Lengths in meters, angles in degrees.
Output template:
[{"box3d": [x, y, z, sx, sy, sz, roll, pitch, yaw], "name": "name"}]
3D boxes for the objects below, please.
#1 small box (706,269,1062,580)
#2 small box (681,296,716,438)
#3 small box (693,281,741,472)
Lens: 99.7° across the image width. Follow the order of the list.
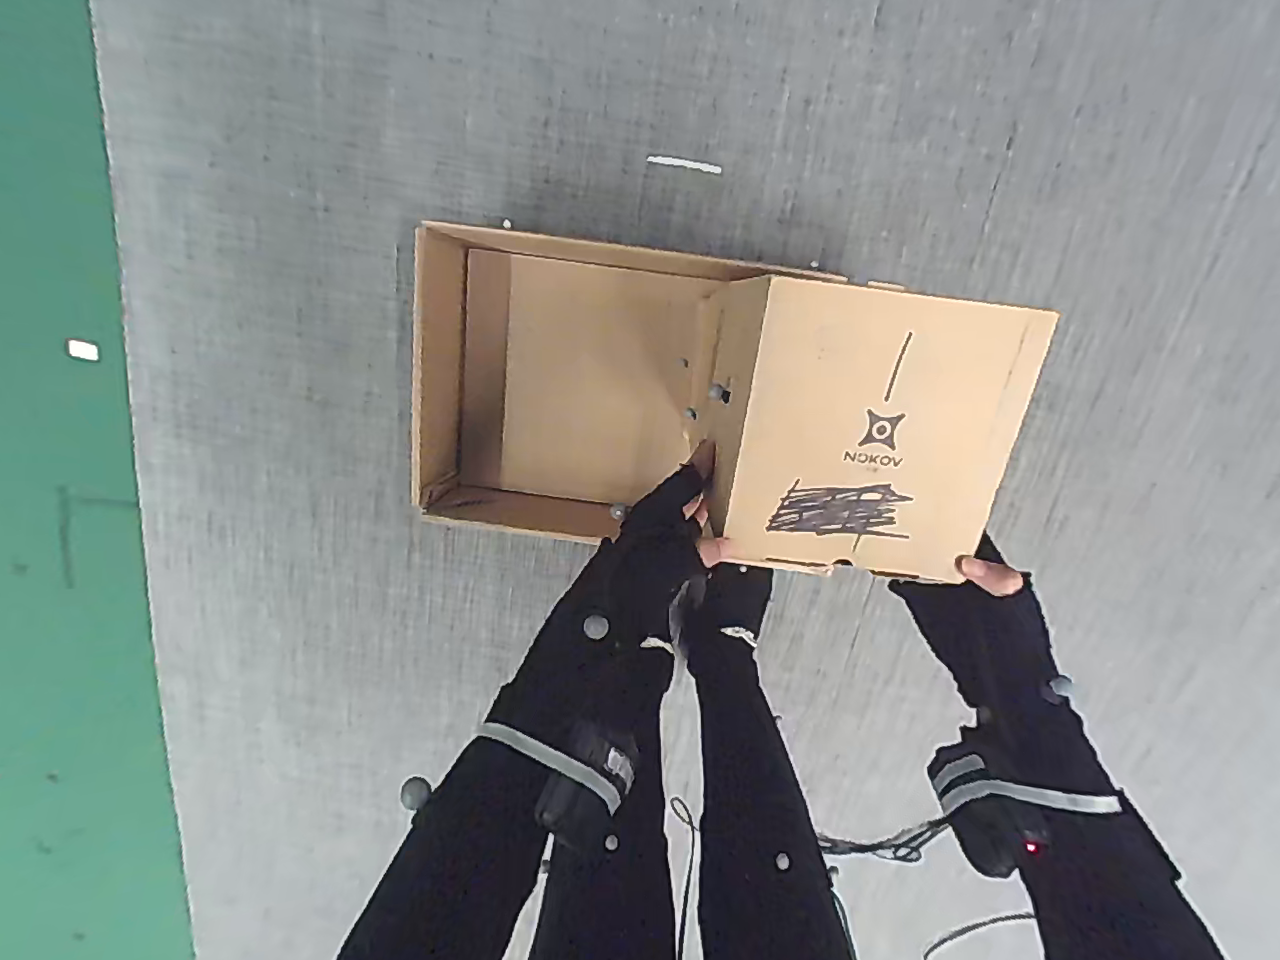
[{"box3d": [0.146, -0.050, 0.401, 0.168, 0.176, 0.179, 7, 108, -1], "name": "small box"}, {"box3d": [0.147, -0.154, 0.742, 0.168, 0.176, 0.179, 4, 106, 4], "name": "small box"}, {"box3d": [0.150, -0.102, 0.567, 0.168, 0.176, 0.179, 8, 107, 1], "name": "small box"}]
